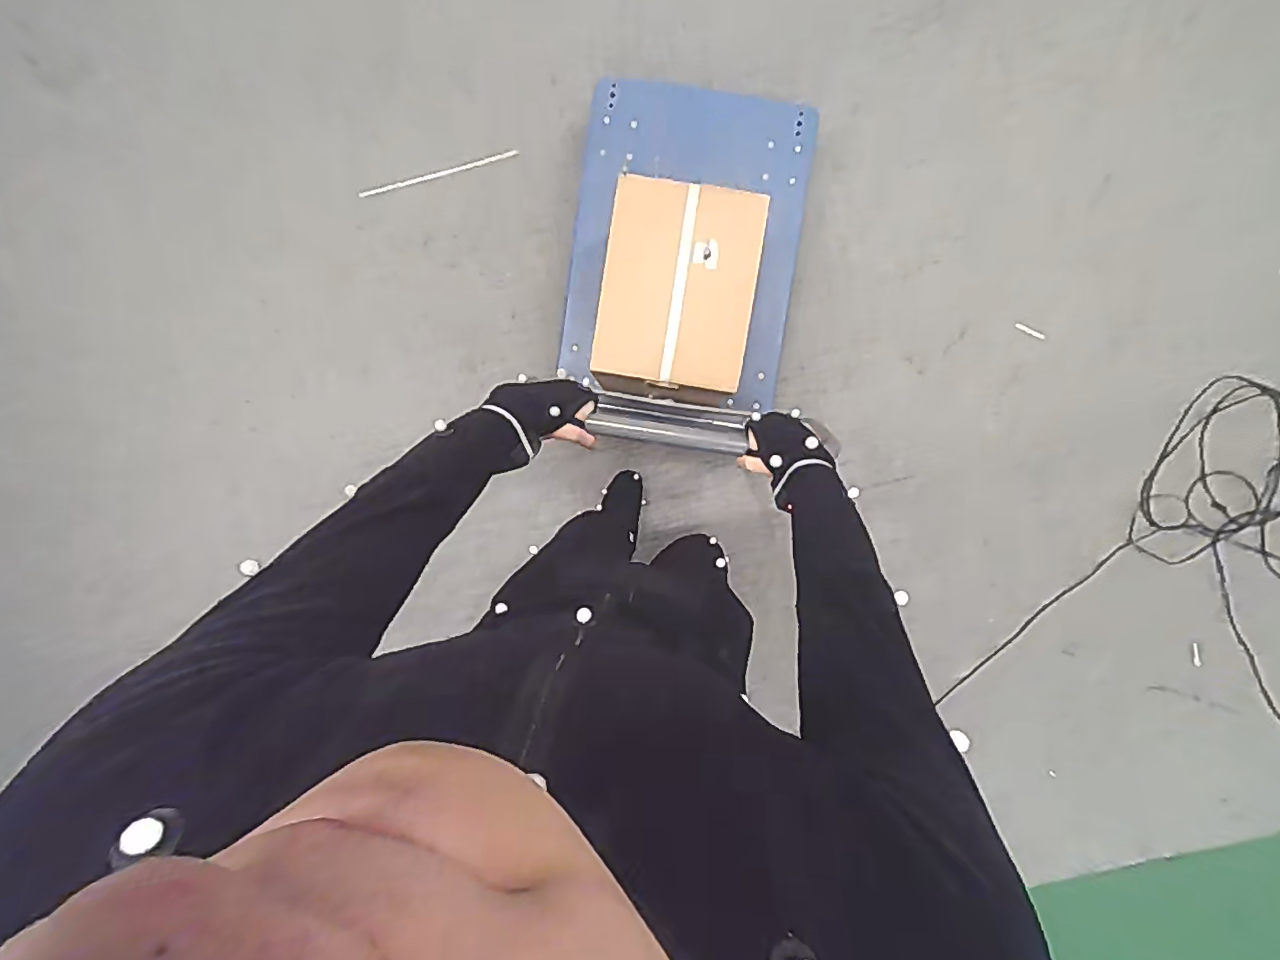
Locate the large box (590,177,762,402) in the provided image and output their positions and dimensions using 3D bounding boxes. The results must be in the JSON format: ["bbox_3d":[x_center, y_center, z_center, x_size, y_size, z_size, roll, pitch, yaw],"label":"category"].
[{"bbox_3d":[0.076,-0.415,1.272,0.320,0.320,0.408,9,93,0],"label":"large box"}]
